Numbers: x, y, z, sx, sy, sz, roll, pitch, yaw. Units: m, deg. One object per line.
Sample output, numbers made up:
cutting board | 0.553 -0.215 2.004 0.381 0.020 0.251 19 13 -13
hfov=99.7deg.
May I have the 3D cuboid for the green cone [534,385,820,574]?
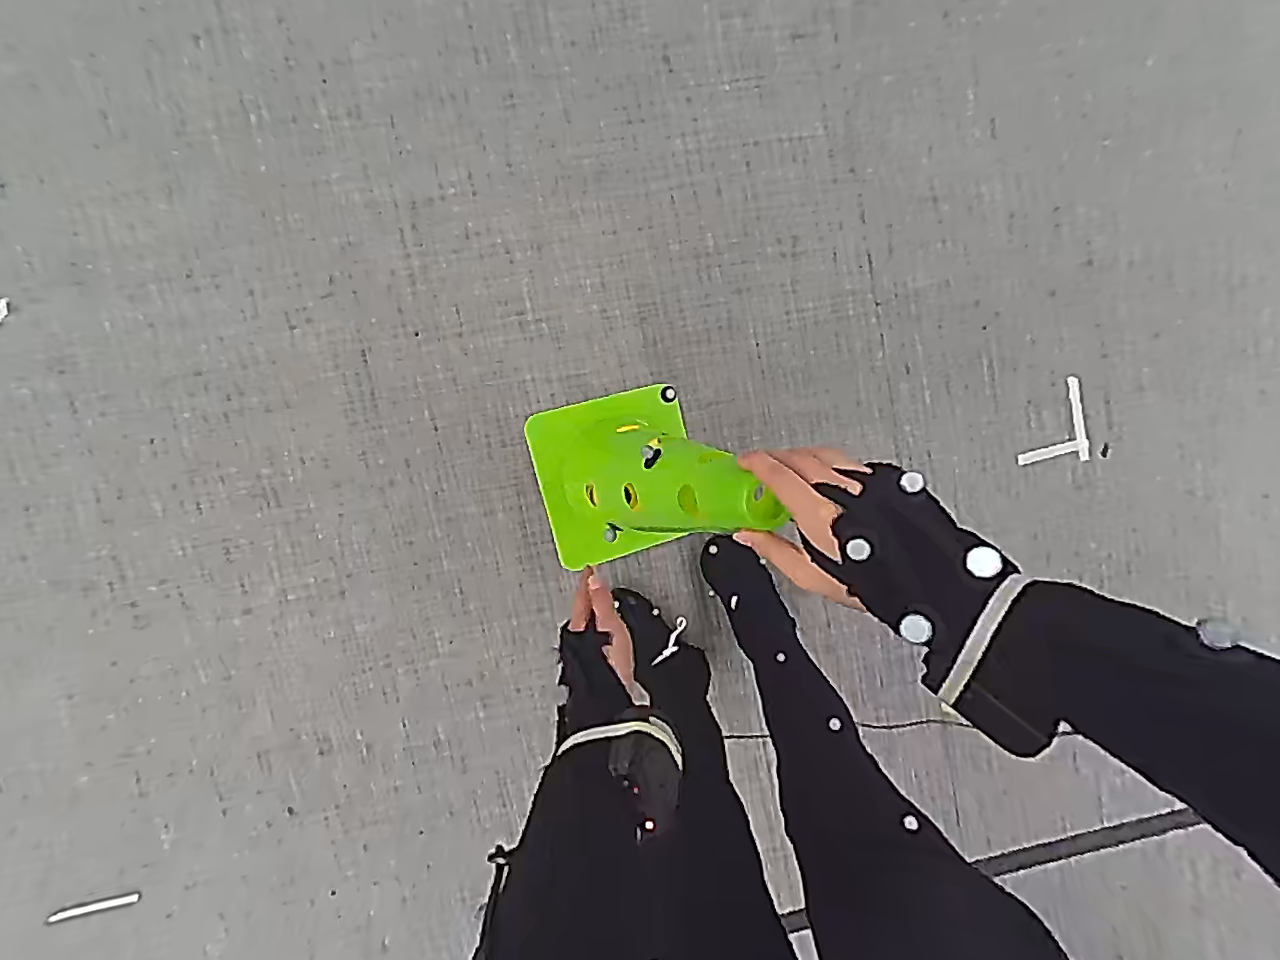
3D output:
green cone | 0.037 0.008 0.506 0.200 0.368 0.202 -17 99 -16
